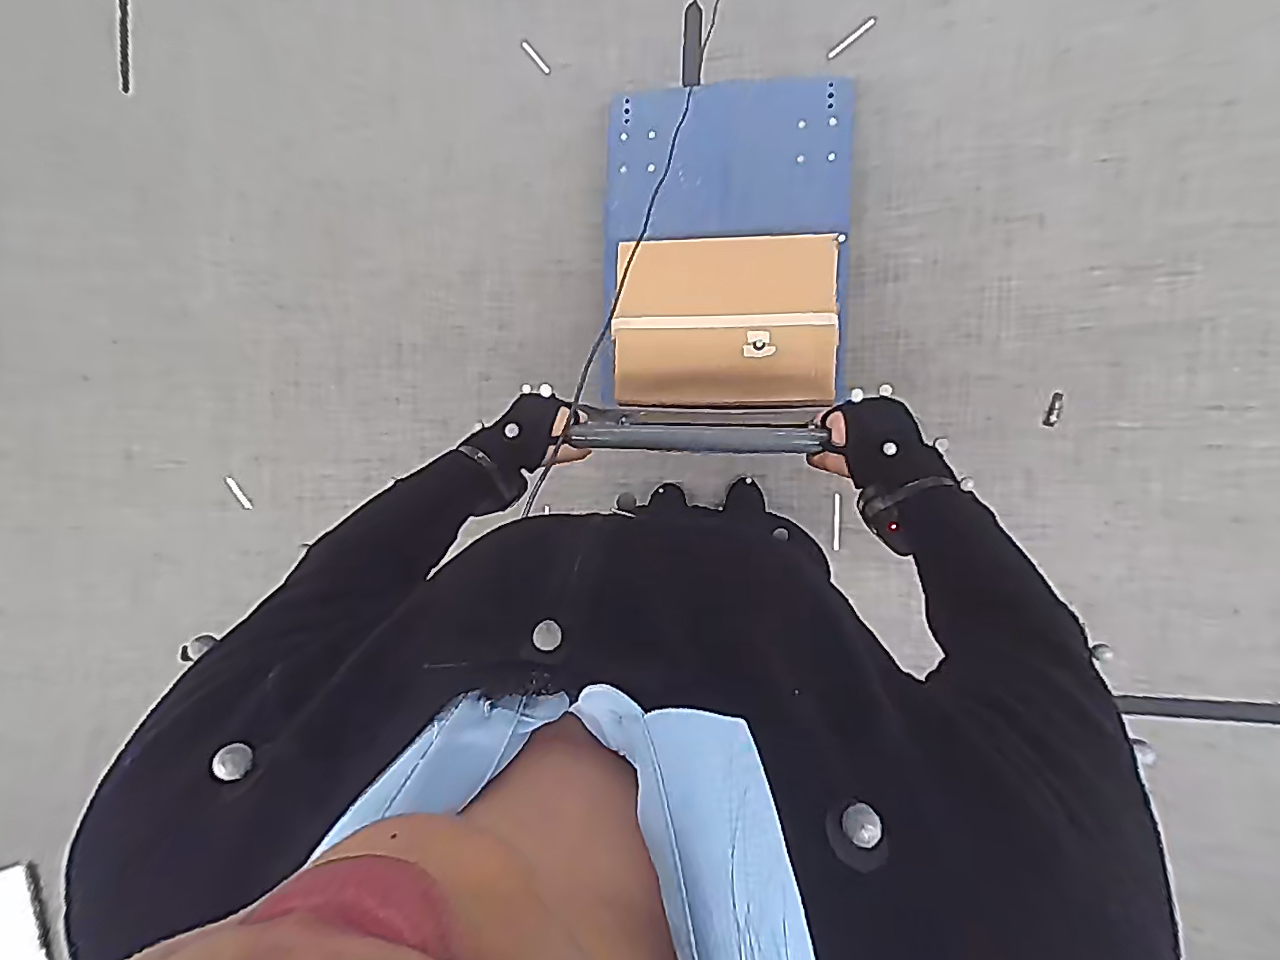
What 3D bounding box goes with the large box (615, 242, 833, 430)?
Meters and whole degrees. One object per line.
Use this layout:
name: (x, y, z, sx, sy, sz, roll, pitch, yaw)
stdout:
large box: (0.167, -0.277, 1.146, 0.408, 0.320, 0.320, 1, 91, 8)
